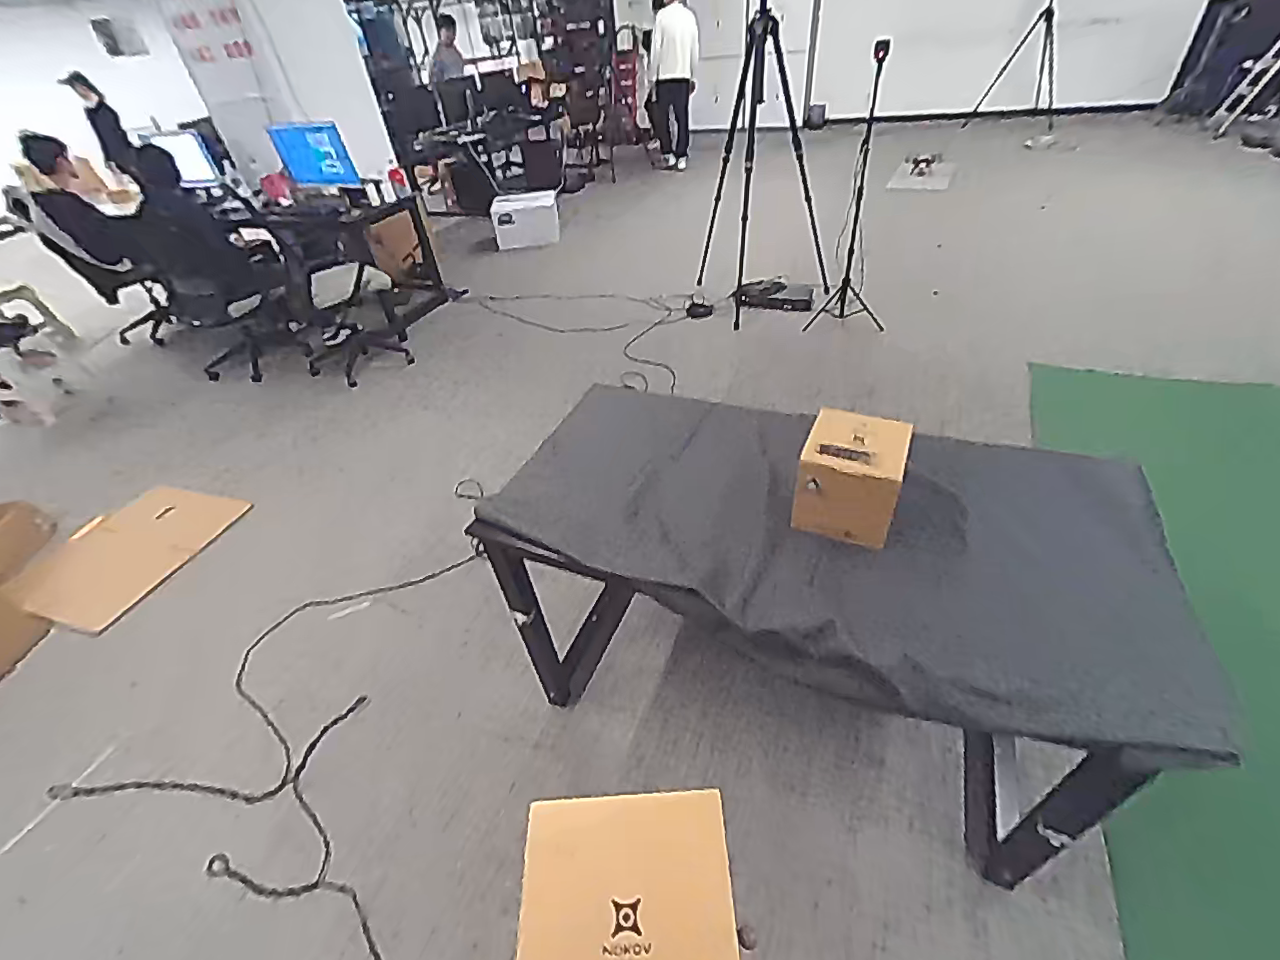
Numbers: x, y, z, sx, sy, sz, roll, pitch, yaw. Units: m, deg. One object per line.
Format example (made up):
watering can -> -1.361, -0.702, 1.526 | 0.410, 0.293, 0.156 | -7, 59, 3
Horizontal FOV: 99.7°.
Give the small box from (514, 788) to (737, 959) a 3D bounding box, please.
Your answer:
small box -> -0.006, 0.387, 0.465 | 0.168, 0.176, 0.179 | -5, 47, 3
